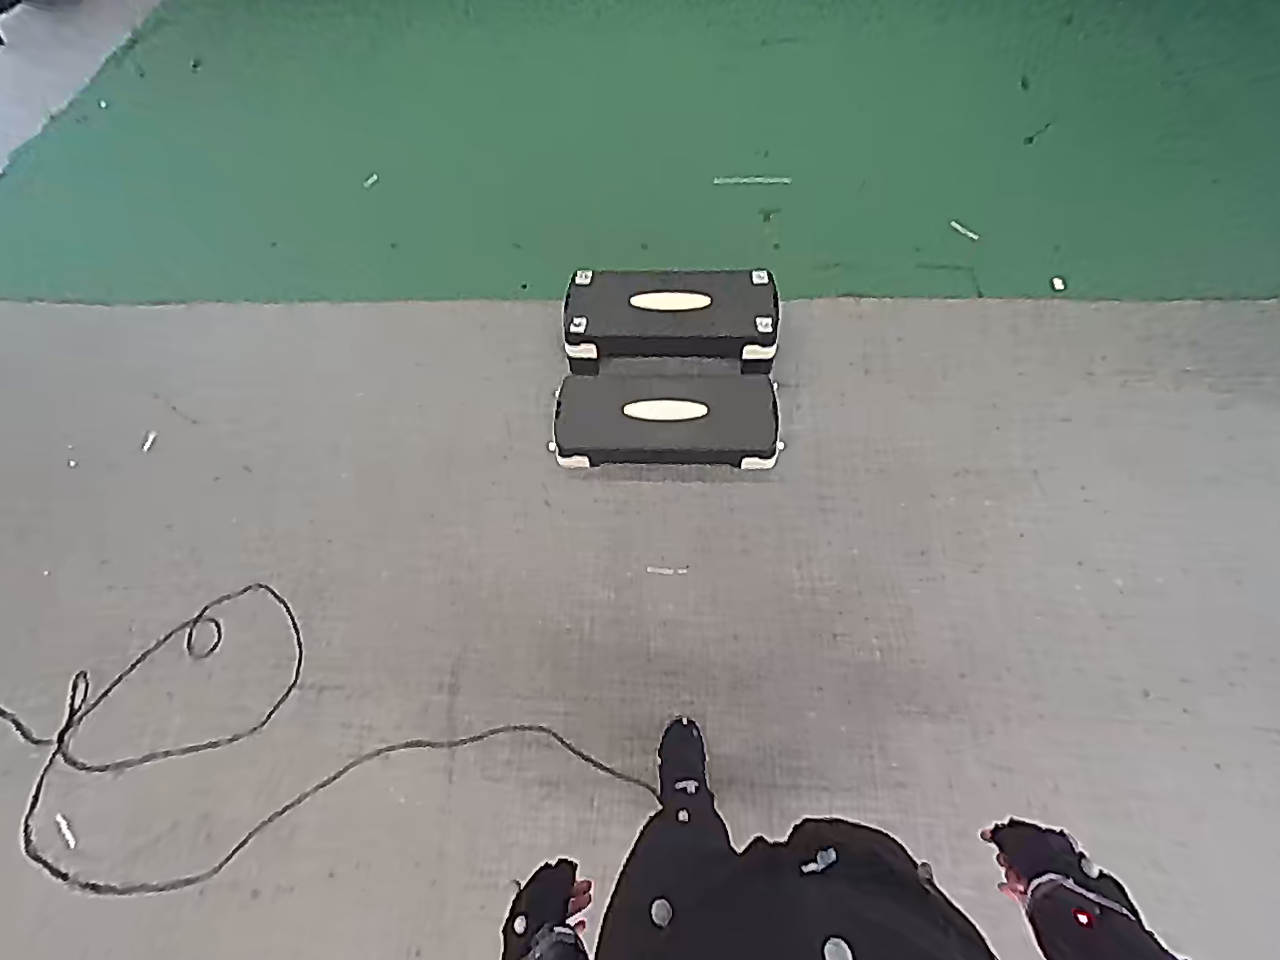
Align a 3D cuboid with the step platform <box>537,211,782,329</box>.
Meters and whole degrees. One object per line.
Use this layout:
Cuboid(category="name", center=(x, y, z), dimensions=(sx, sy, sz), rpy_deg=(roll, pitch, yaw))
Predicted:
Cuboid(category="step platform", center=(0.056, -0.609, 1.588), dimensions=(0.684, 0.204, 0.286), rpy_deg=(1, 63, 4))
